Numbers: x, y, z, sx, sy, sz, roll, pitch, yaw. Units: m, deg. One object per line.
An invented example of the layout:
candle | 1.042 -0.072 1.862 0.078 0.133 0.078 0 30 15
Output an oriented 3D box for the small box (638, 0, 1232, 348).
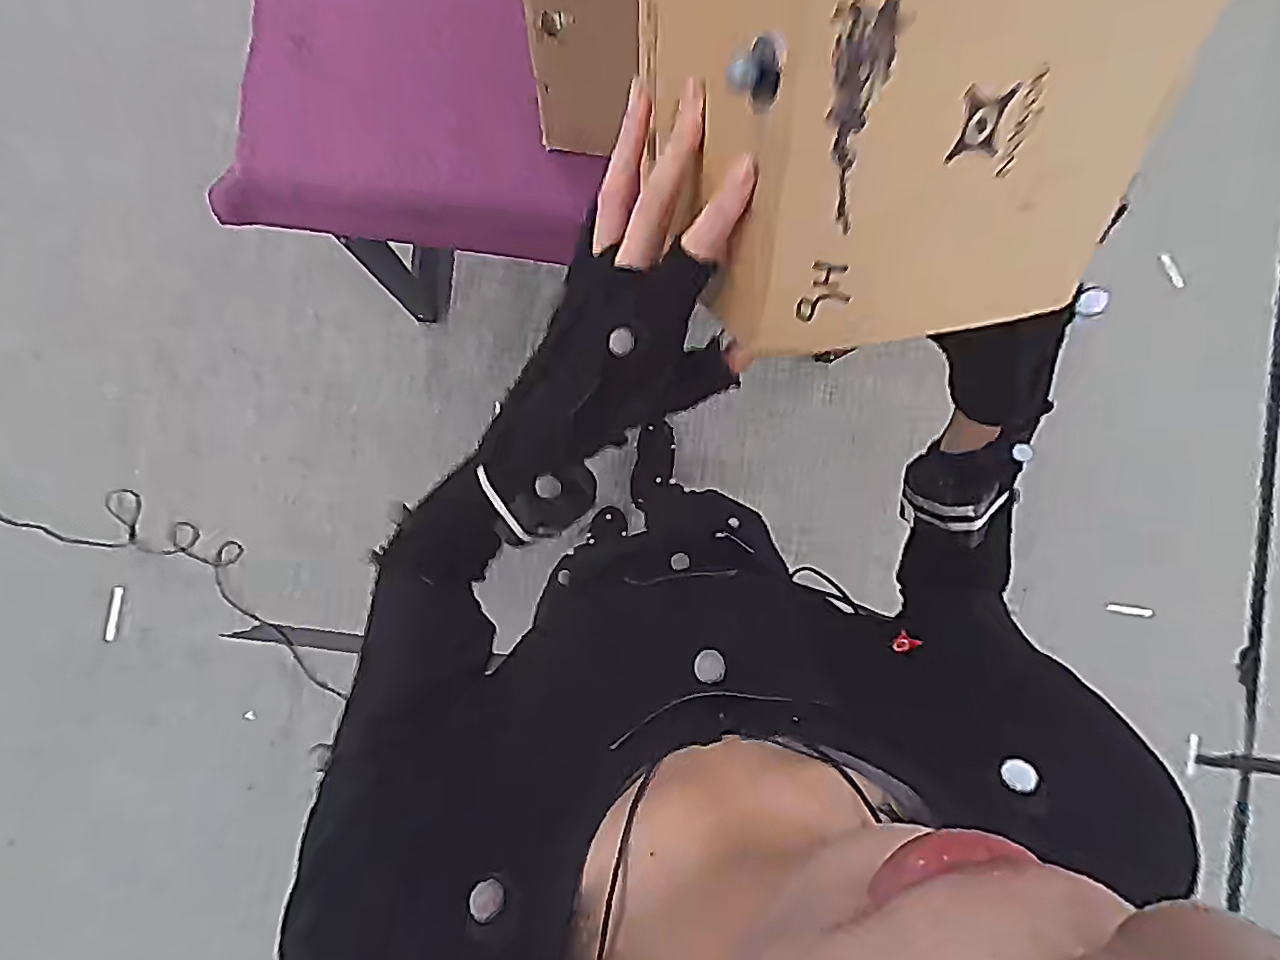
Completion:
small box | 0.108 -0.184 0.253 0.179 0.176 0.168 -12 131 -13
